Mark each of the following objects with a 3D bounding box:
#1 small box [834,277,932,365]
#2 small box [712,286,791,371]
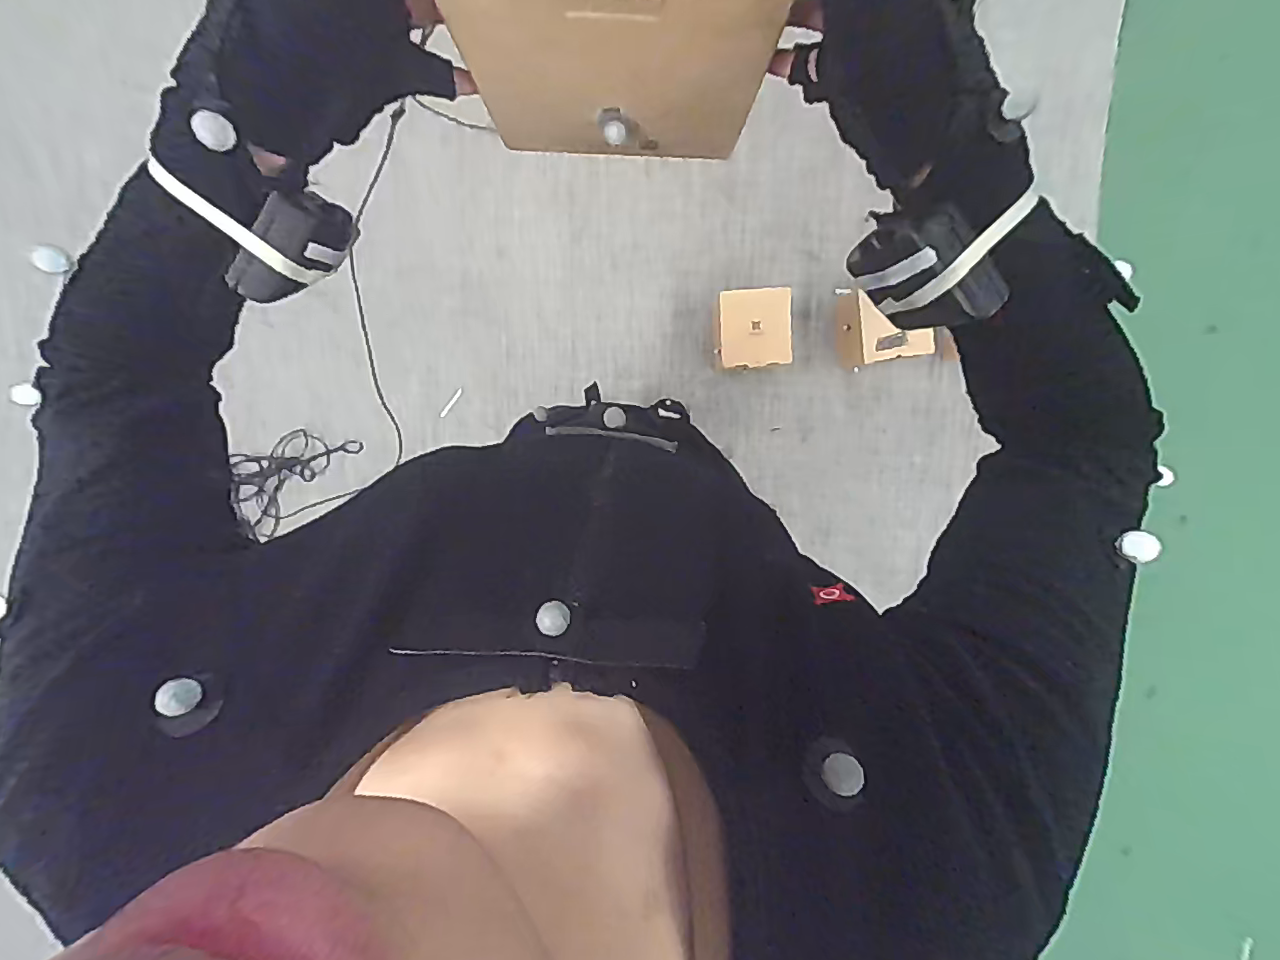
[{"bbox_3d":[0.586,-0.379,1.319,0.168,0.176,0.179,-8,97,2],"label":"small box"},{"bbox_3d":[0.268,-0.367,1.331,0.168,0.176,0.179,-3,99,3],"label":"small box"}]
